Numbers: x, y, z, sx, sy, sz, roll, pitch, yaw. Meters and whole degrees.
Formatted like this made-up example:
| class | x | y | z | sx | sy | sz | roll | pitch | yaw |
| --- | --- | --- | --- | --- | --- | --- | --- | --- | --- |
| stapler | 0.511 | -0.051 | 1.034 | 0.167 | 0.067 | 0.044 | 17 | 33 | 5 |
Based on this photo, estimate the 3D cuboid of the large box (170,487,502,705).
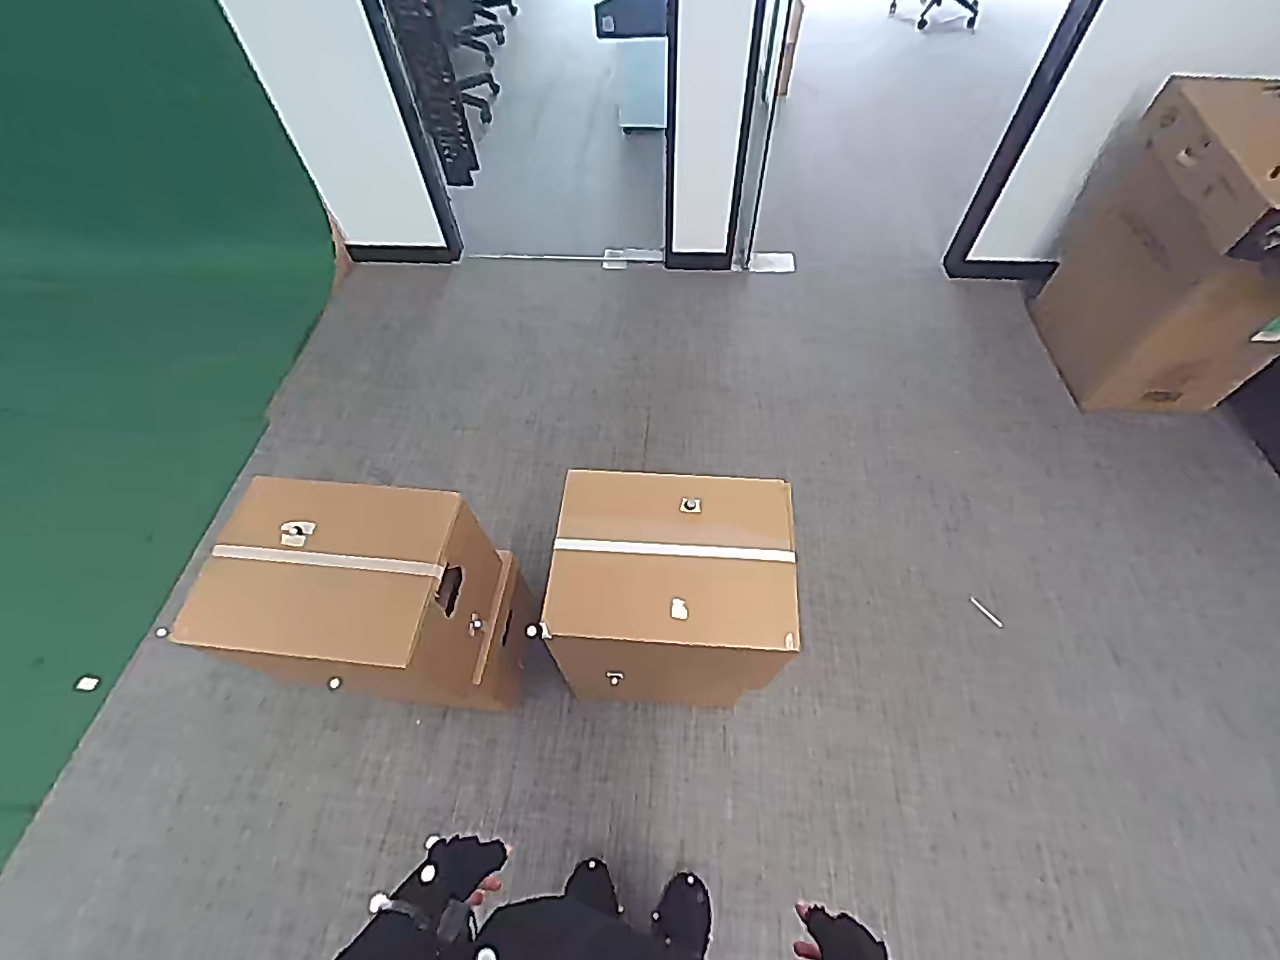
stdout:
| class | x | y | z | sx | sy | sz | roll | pitch | yaw |
| --- | --- | --- | --- | --- | --- | --- | --- | --- | --- |
| large box | -0.527 | 0.231 | 1.041 | 0.408 | 0.320 | 0.320 | 4 | 58 | 6 |
